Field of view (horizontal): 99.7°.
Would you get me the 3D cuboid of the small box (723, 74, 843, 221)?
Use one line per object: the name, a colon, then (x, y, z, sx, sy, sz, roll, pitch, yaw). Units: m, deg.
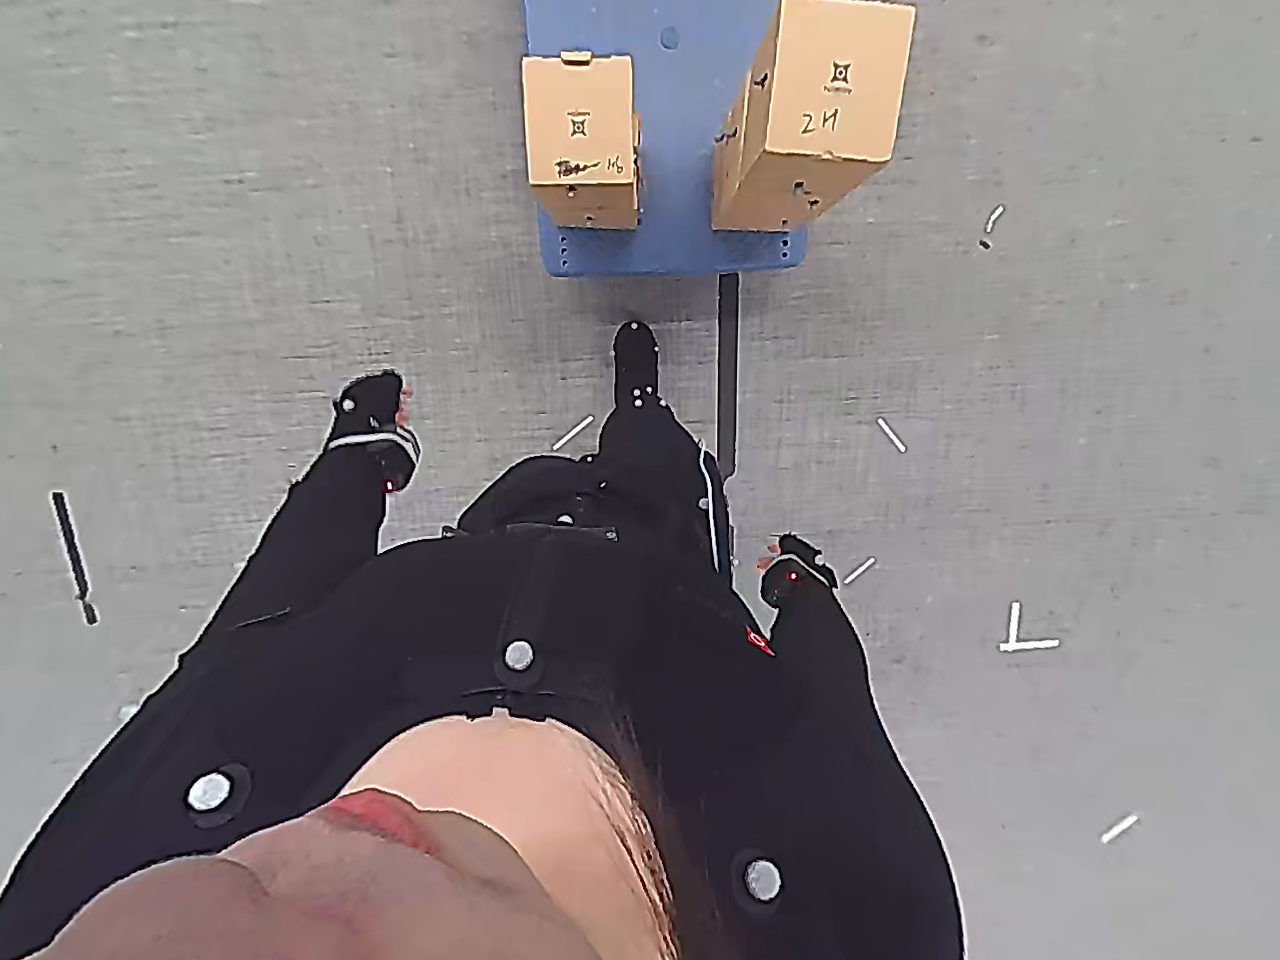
small box: (0.241, -0.545, 0.909, 0.179, 0.176, 0.168, 3, 104, -2)

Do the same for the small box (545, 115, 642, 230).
small box: (-0.087, -0.598, 1.060, 0.179, 0.176, 0.168, 2, 104, 0)

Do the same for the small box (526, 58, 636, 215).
small box: (-0.090, -0.559, 0.900, 0.168, 0.176, 0.179, 0, 103, 0)

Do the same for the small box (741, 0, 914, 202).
small box: (0.243, -0.509, 0.748, 0.168, 0.176, 0.179, 5, 104, -2)
